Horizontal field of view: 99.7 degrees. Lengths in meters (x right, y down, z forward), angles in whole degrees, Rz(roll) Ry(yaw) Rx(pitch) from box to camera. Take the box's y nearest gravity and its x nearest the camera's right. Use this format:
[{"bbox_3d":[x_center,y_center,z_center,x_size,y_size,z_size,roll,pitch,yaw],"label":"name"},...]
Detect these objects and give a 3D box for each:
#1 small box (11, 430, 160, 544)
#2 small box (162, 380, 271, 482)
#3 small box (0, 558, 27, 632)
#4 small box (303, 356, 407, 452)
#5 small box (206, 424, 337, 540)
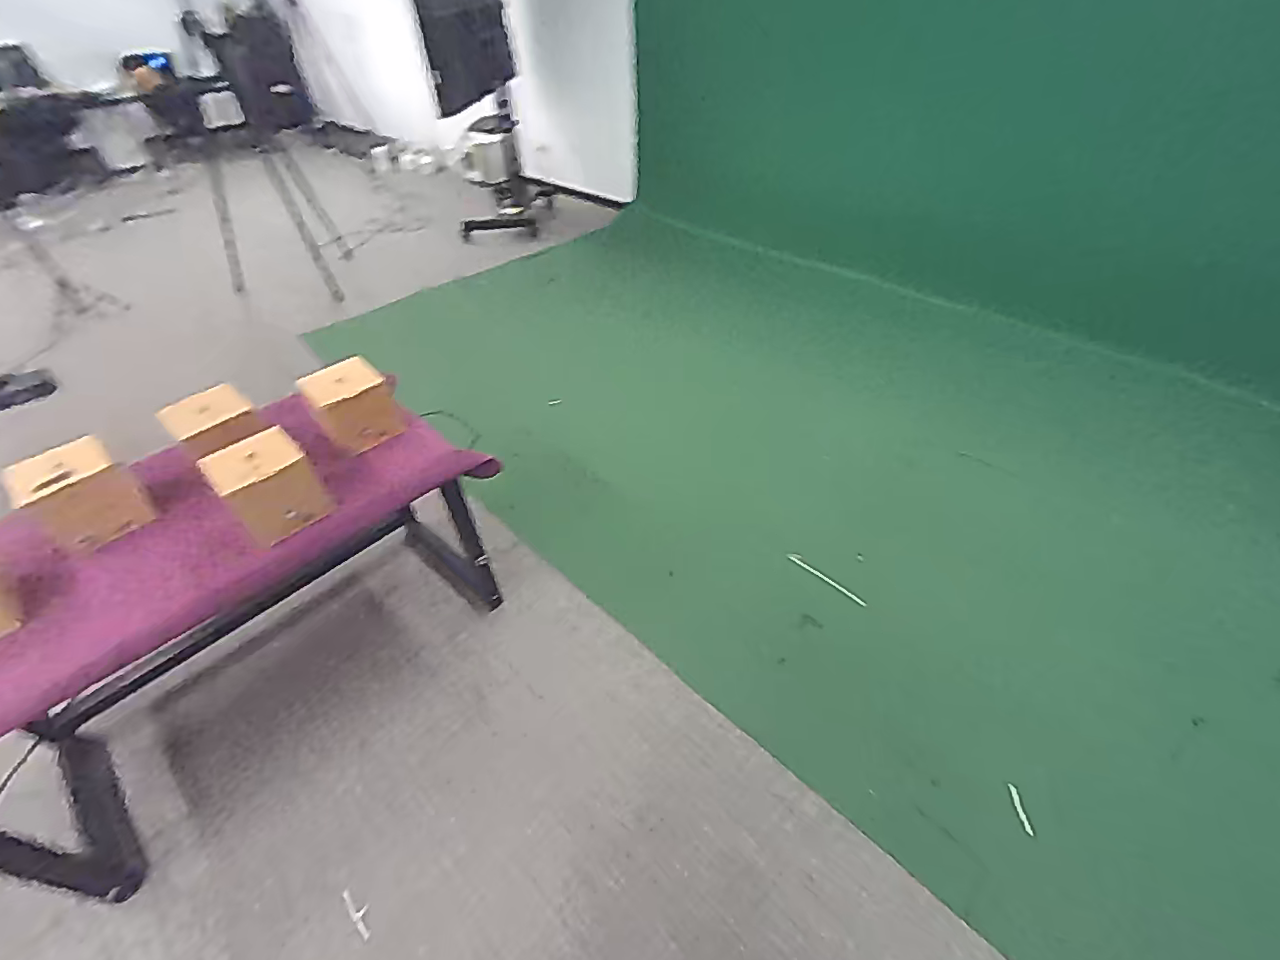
[{"bbox_3d":[-1.249,0.021,1.229,0.179,0.176,0.168,31,52,31],"label":"small box"},{"bbox_3d":[-1.053,-0.122,1.377,0.179,0.176,0.168,32,54,29],"label":"small box"},{"bbox_3d":[-1.335,0.215,1.023,0.179,0.176,0.168,33,54,31],"label":"small box"},{"bbox_3d":[-0.762,-0.204,1.455,0.168,0.176,0.179,-35,53,-29],"label":"small box"},{"bbox_3d":[-0.834,0.005,1.233,0.179,0.176,0.168,33,54,32],"label":"small box"}]
